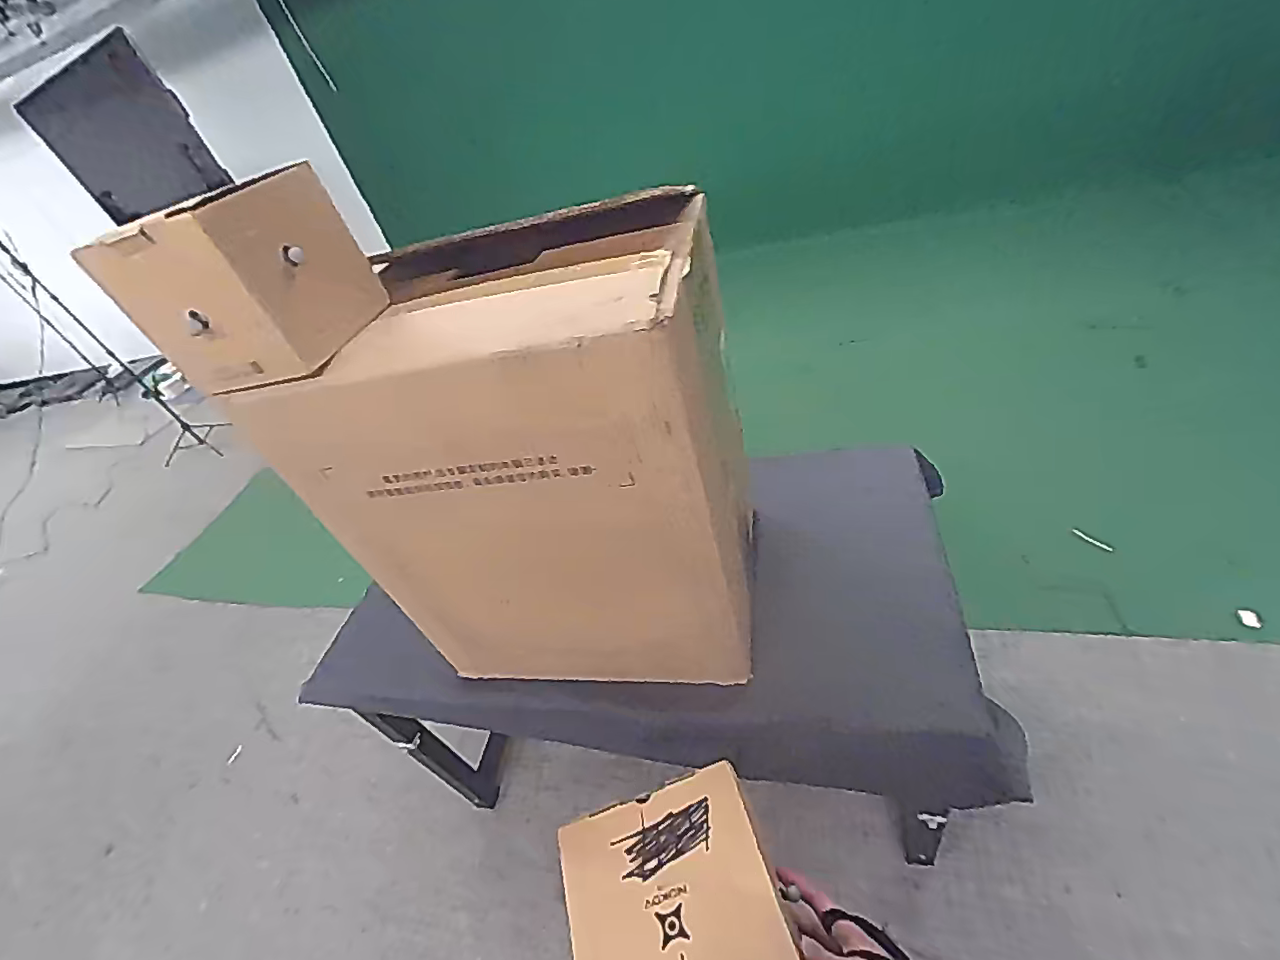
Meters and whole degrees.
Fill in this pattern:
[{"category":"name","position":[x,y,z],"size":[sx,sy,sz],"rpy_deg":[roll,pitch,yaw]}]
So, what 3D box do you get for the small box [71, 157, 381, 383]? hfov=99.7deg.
[{"category":"small box","position":[-0.428,-0.221,0.597],"size":[0.168,0.176,0.179],"rpy_deg":[-5,43,18]}]
